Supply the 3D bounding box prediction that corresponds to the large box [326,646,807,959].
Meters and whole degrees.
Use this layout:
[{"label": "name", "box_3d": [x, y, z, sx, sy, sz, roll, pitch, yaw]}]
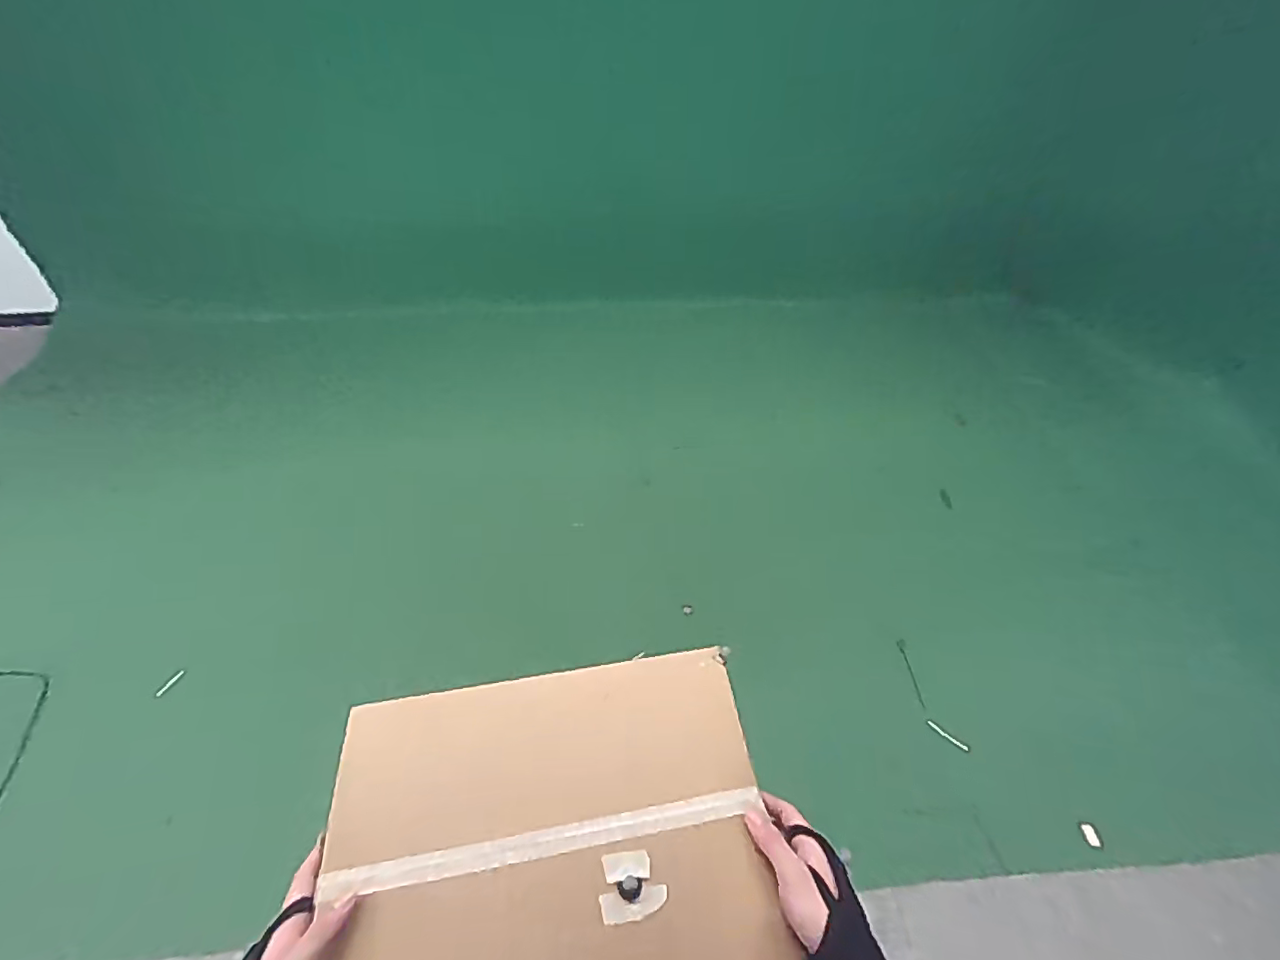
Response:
[{"label": "large box", "box_3d": [-0.083, 0.433, 0.625, 0.408, 0.320, 0.320, -7, 50, -8]}]
